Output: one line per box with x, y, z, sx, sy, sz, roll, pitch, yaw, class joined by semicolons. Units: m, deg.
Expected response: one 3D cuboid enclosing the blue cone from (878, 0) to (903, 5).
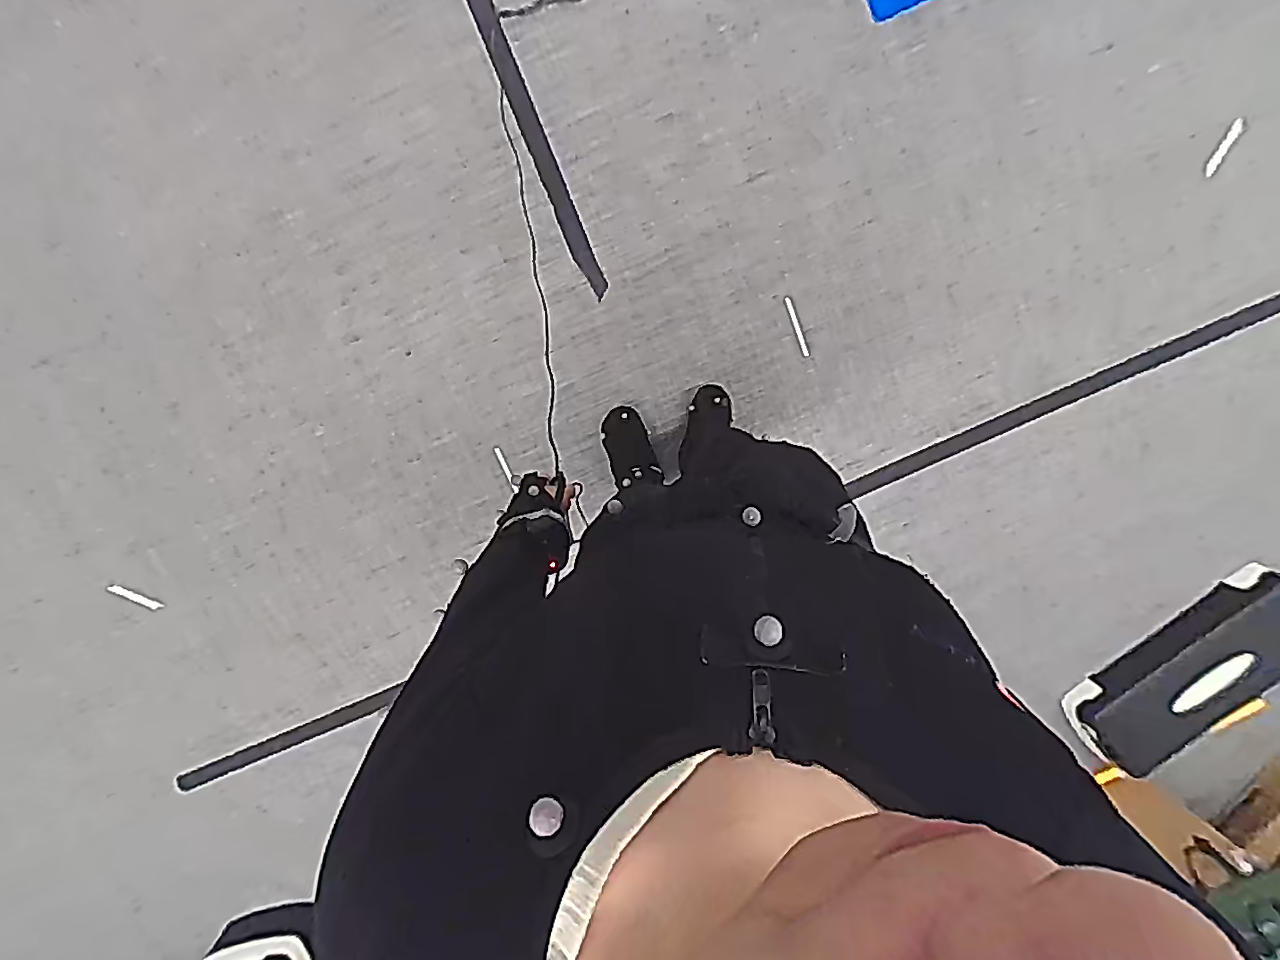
0.577;-1.107;0.994;0.192;0.380;0.193;-23;102;1;blue cone
